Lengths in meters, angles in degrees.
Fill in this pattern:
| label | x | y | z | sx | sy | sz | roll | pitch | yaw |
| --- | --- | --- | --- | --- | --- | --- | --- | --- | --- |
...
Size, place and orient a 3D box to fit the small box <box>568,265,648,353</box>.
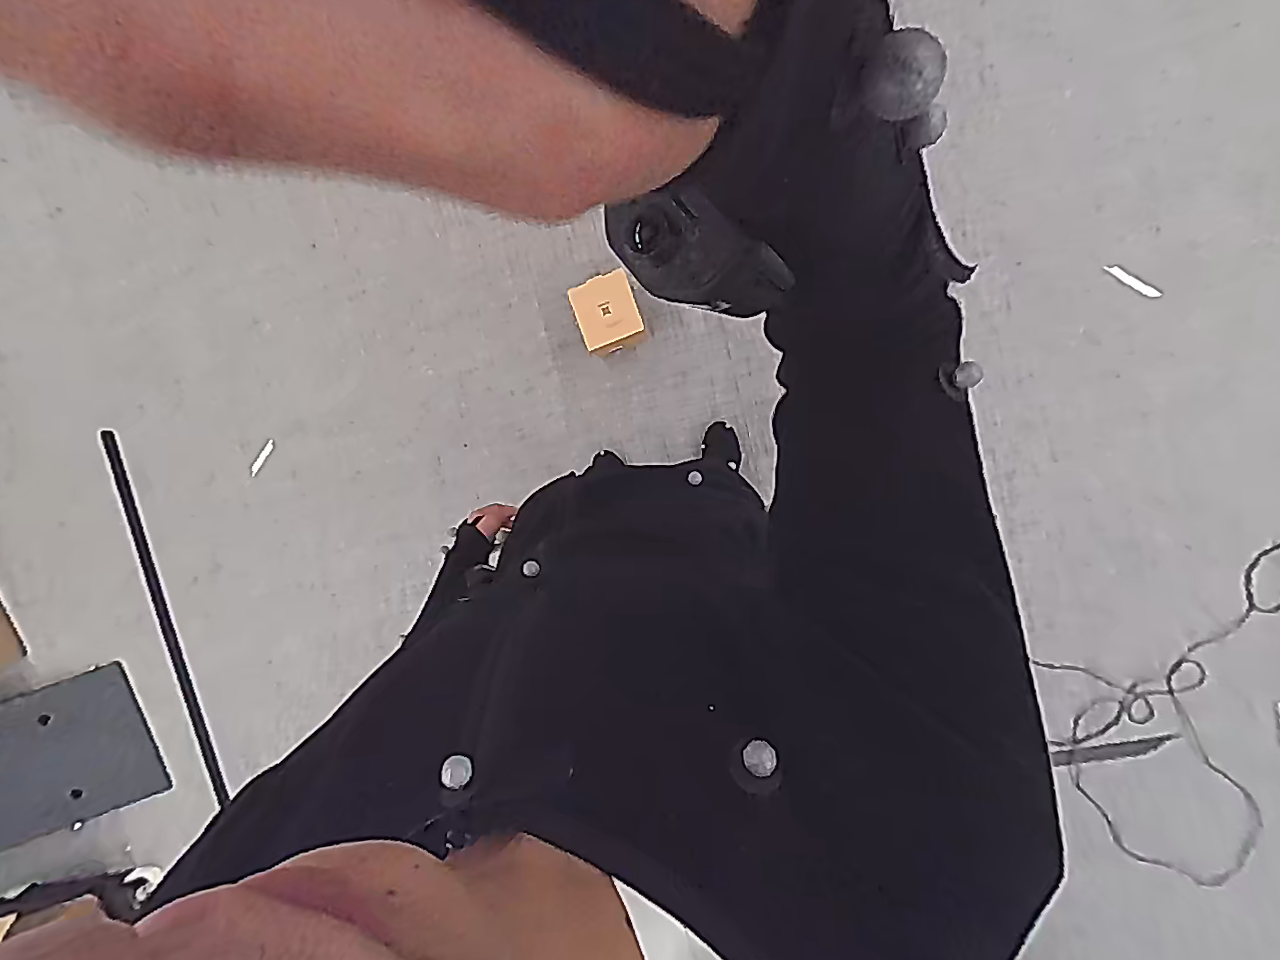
| label | x | y | z | sx | sy | sz | roll | pitch | yaw |
| --- | --- | --- | --- | --- | --- | --- | --- | --- | --- |
| small box | -0.085 | -0.472 | 1.518 | 0.168 | 0.176 | 0.179 | -19 | 94 | 8 |
